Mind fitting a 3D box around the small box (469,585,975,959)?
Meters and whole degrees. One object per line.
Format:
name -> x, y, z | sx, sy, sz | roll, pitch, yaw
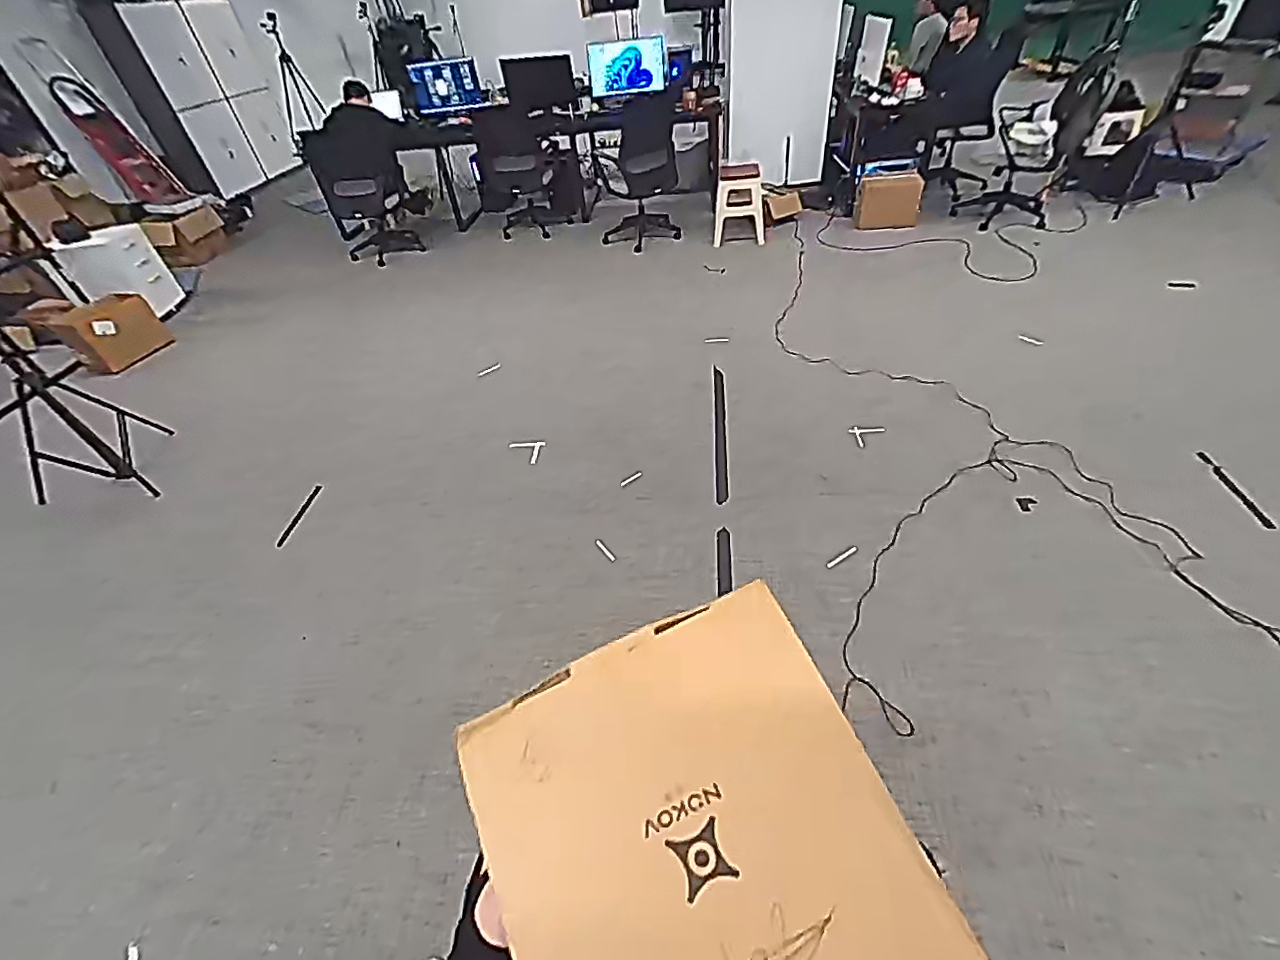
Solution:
small box -> 0.030, 0.189, 0.308 | 0.168, 0.176, 0.179 | -25, 66, -7
